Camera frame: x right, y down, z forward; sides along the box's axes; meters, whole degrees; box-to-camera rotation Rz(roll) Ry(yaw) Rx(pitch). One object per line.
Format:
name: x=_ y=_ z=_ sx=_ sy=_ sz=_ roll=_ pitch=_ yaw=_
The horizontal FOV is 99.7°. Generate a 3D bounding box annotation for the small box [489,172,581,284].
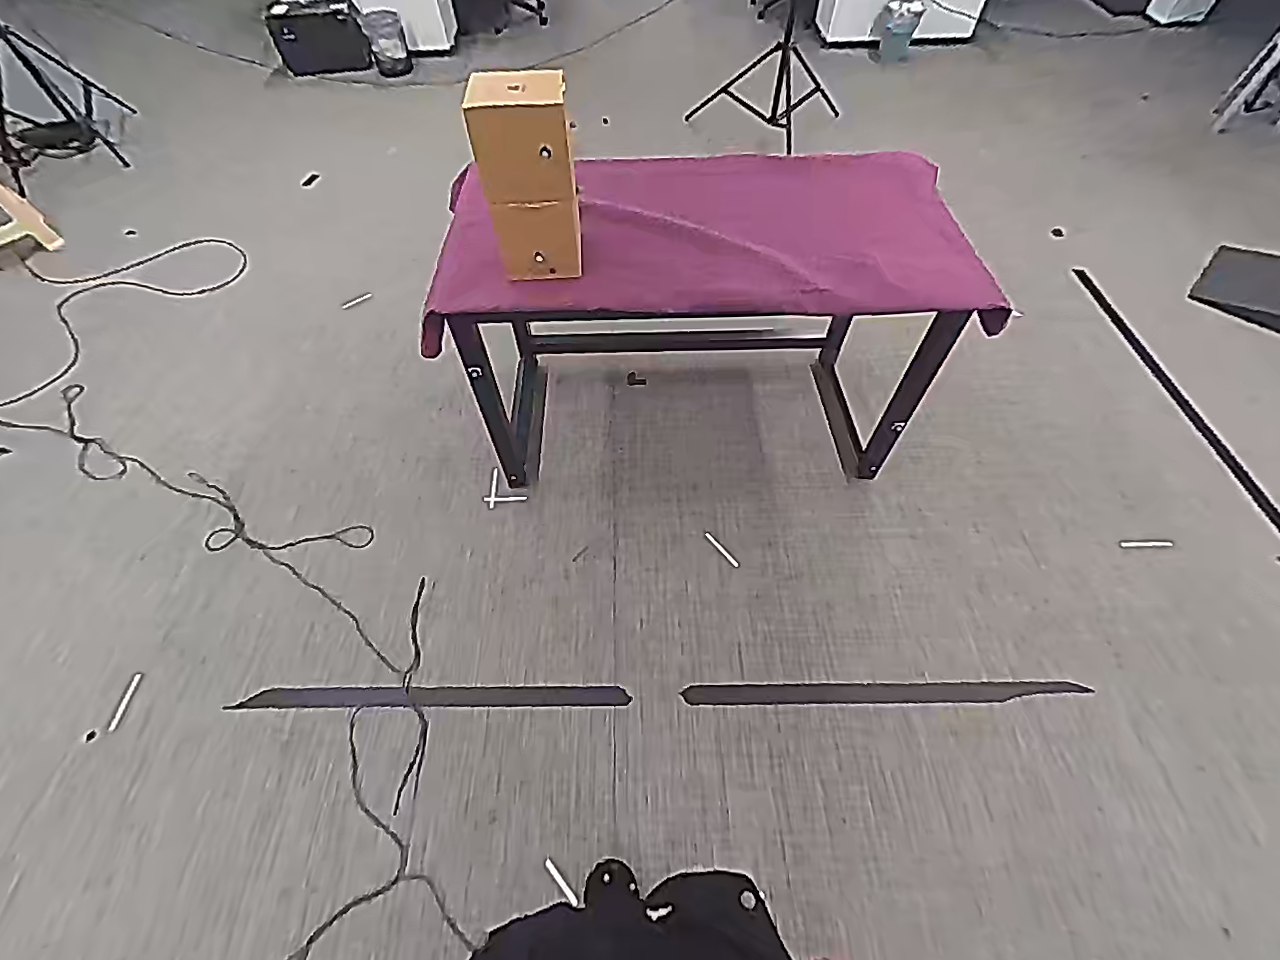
small box: x=-0.221 y=-0.549 z=1.173 sx=0.168 sy=0.176 sz=0.179 roll=-4 pitch=55 yaw=-1

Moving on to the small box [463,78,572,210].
small box: x=-0.224 y=-0.643 z=1.041 sx=0.179 sy=0.176 sz=0.168 roll=-5 pitch=53 yaw=-2
